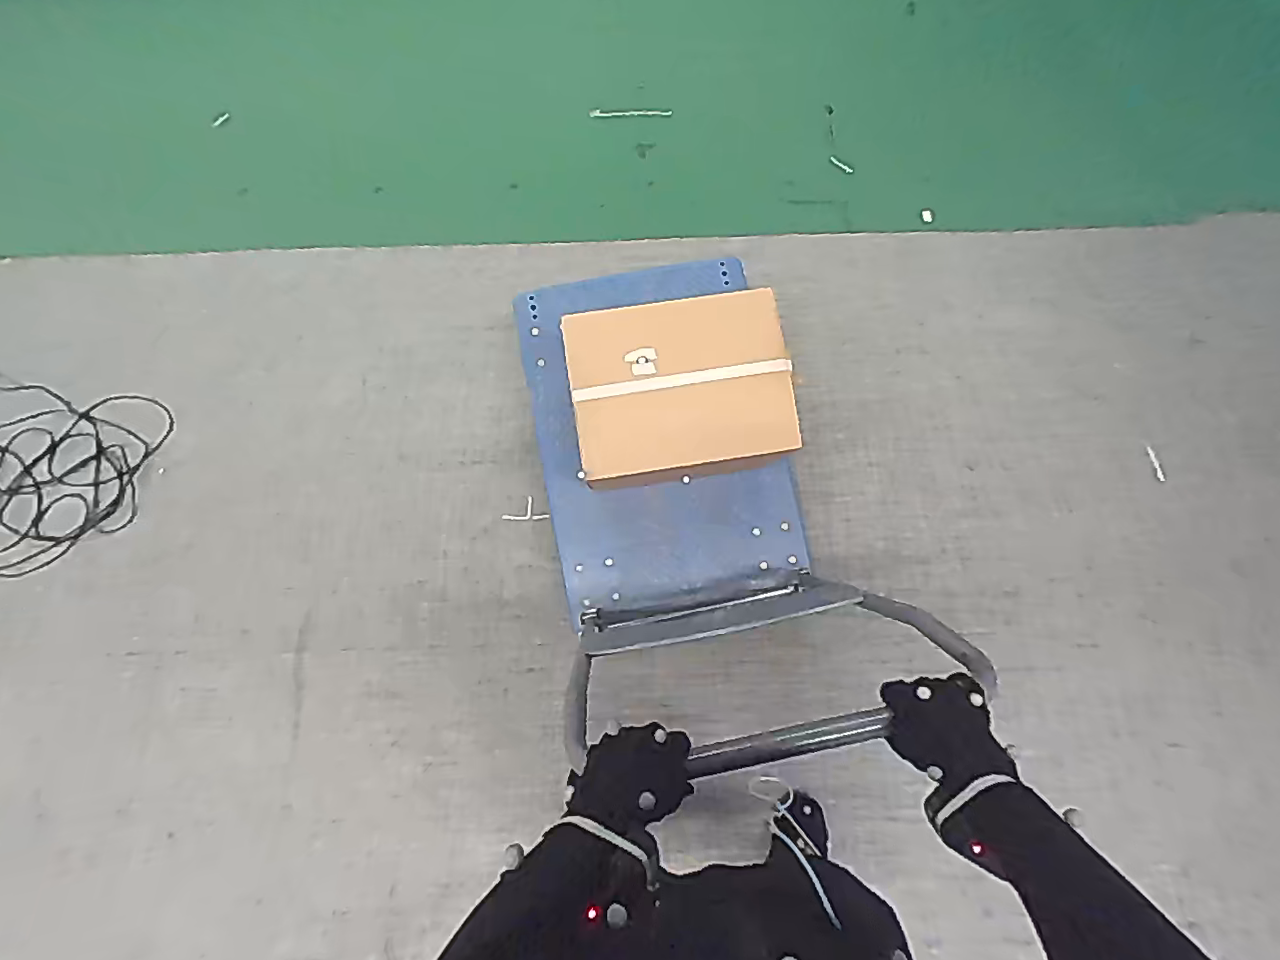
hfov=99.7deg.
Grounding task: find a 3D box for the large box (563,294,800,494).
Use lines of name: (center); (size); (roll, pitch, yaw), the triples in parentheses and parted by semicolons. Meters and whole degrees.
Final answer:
large box: (0.075, -0.156, 1.144); (0.408, 0.320, 0.320); (-9, 85, -1)
